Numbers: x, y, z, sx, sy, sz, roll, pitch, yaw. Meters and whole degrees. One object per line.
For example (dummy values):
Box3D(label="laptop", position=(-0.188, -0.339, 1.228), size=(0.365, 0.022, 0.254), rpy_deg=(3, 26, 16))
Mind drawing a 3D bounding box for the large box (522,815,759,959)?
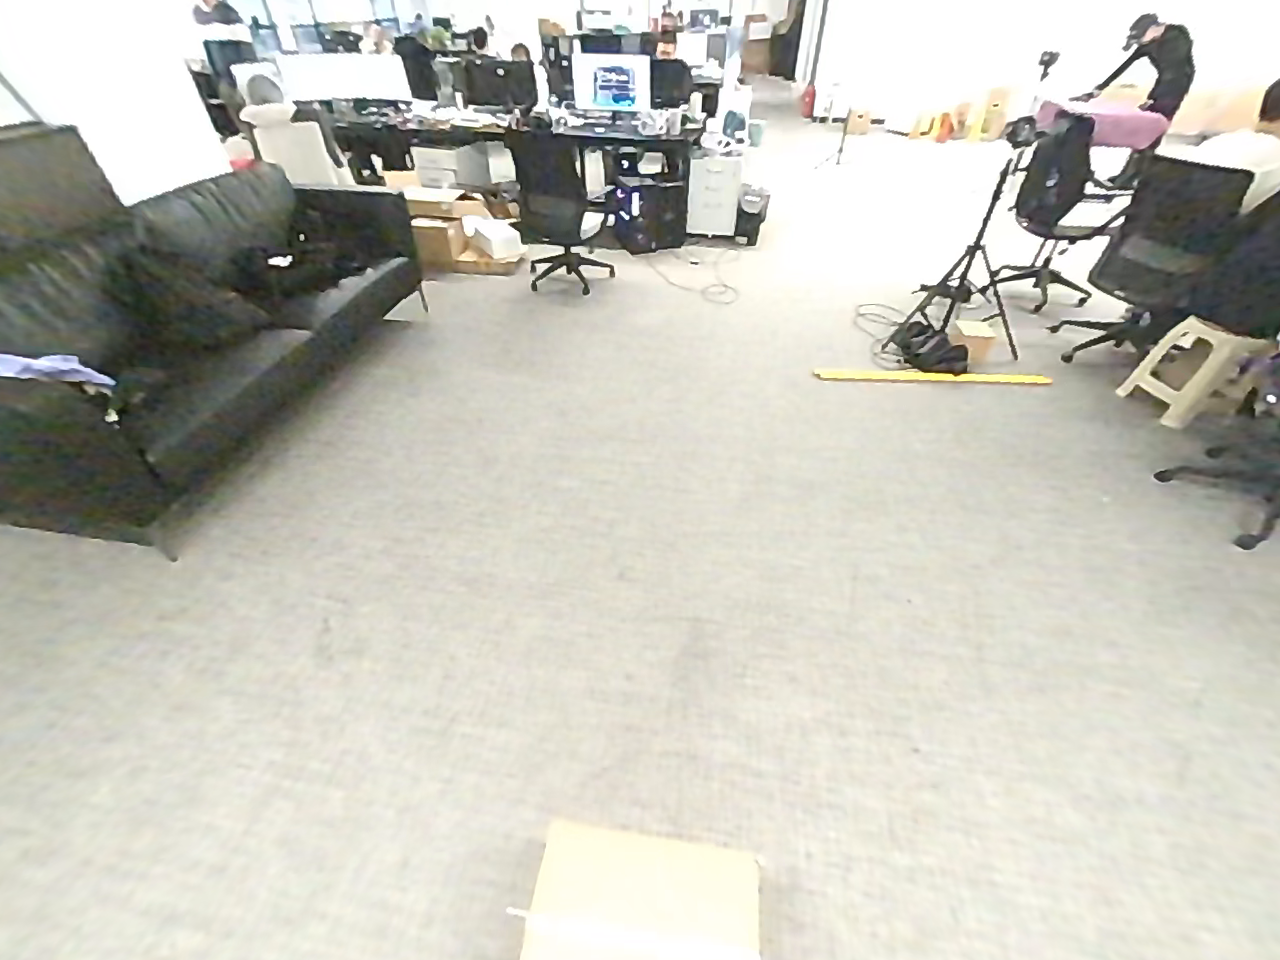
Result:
Box3D(label="large box", position=(0.003, 0.893, 1.038), size=(0.408, 0.320, 0.320), rpy_deg=(6, 42, 6))
